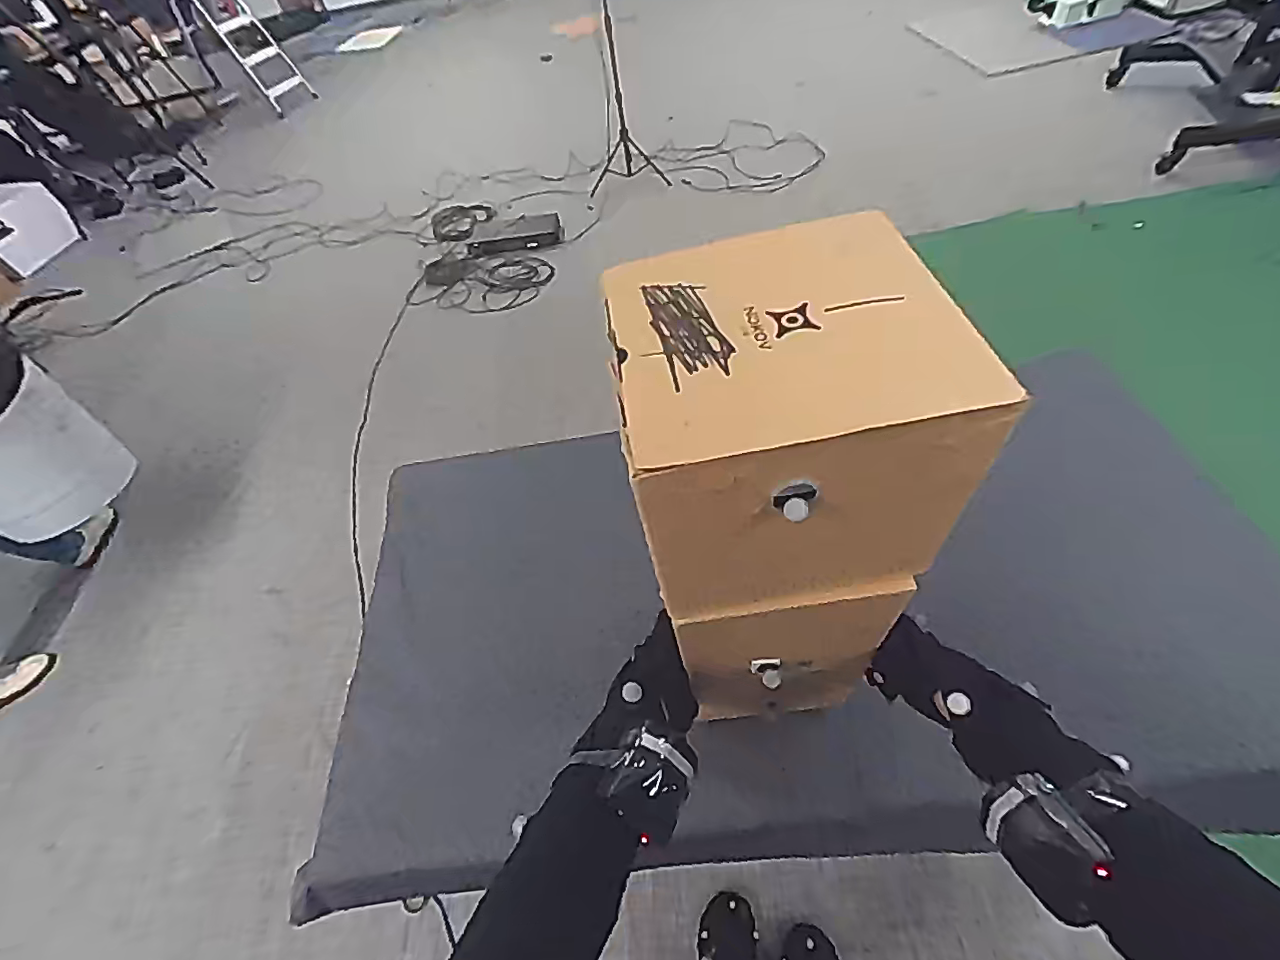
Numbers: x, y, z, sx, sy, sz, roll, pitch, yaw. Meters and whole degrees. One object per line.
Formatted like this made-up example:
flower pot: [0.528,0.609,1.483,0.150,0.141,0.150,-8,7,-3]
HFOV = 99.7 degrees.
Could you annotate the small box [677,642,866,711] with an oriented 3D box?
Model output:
small box: [0.128,0.152,0.611,0.179,0.176,0.168,-8,54,4]

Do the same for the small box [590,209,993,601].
small box: [0.075,-0.036,0.349,0.179,0.176,0.168,-11,54,4]

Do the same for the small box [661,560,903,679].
small box: [0.102,0.059,0.480,0.168,0.176,0.179,-10,55,5]
